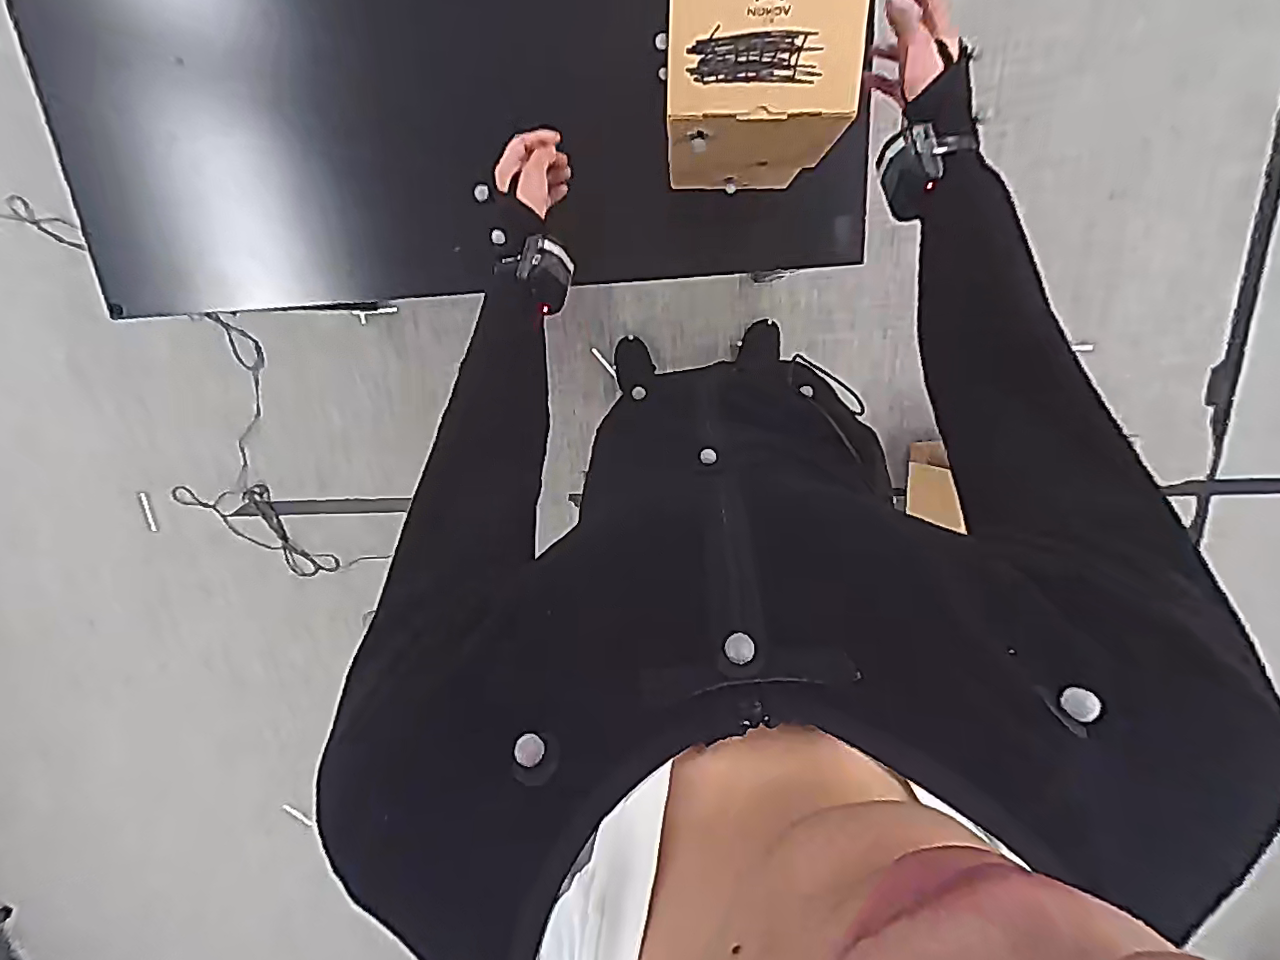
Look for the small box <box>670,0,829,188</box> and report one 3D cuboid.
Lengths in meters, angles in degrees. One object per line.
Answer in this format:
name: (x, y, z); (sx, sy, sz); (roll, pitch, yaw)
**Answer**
small box: (0.122, -0.479, 0.667); (0.168, 0.176, 0.179); (2, 107, 4)
